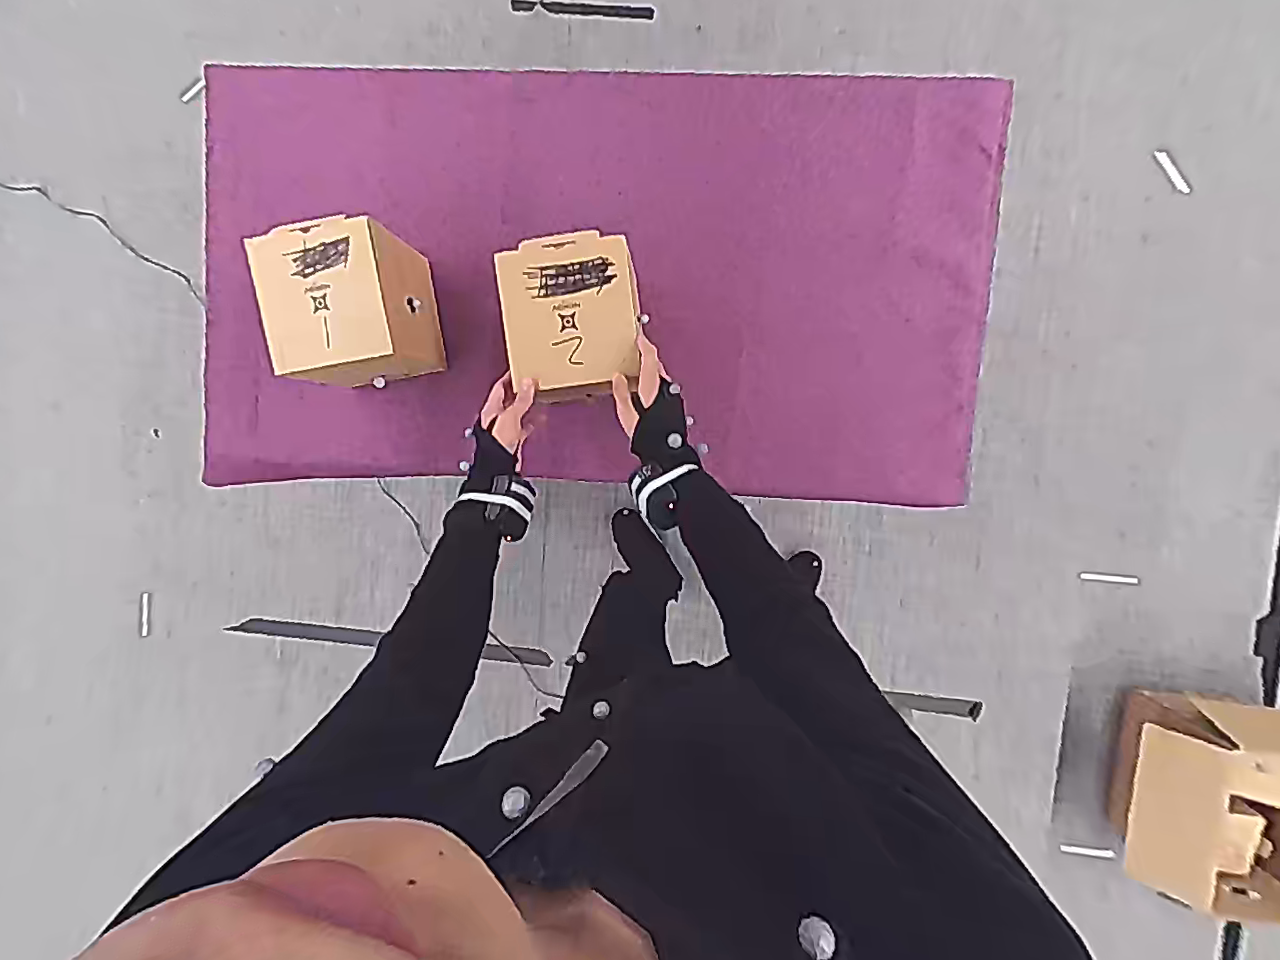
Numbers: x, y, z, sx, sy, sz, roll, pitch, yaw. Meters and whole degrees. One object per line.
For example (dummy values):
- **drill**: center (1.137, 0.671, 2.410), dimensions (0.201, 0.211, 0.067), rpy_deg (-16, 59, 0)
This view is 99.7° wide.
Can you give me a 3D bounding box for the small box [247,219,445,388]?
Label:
- **small box**: center (-0.397, -0.234, 0.760), dimensions (0.168, 0.176, 0.179), rpy_deg (-9, 95, 5)
